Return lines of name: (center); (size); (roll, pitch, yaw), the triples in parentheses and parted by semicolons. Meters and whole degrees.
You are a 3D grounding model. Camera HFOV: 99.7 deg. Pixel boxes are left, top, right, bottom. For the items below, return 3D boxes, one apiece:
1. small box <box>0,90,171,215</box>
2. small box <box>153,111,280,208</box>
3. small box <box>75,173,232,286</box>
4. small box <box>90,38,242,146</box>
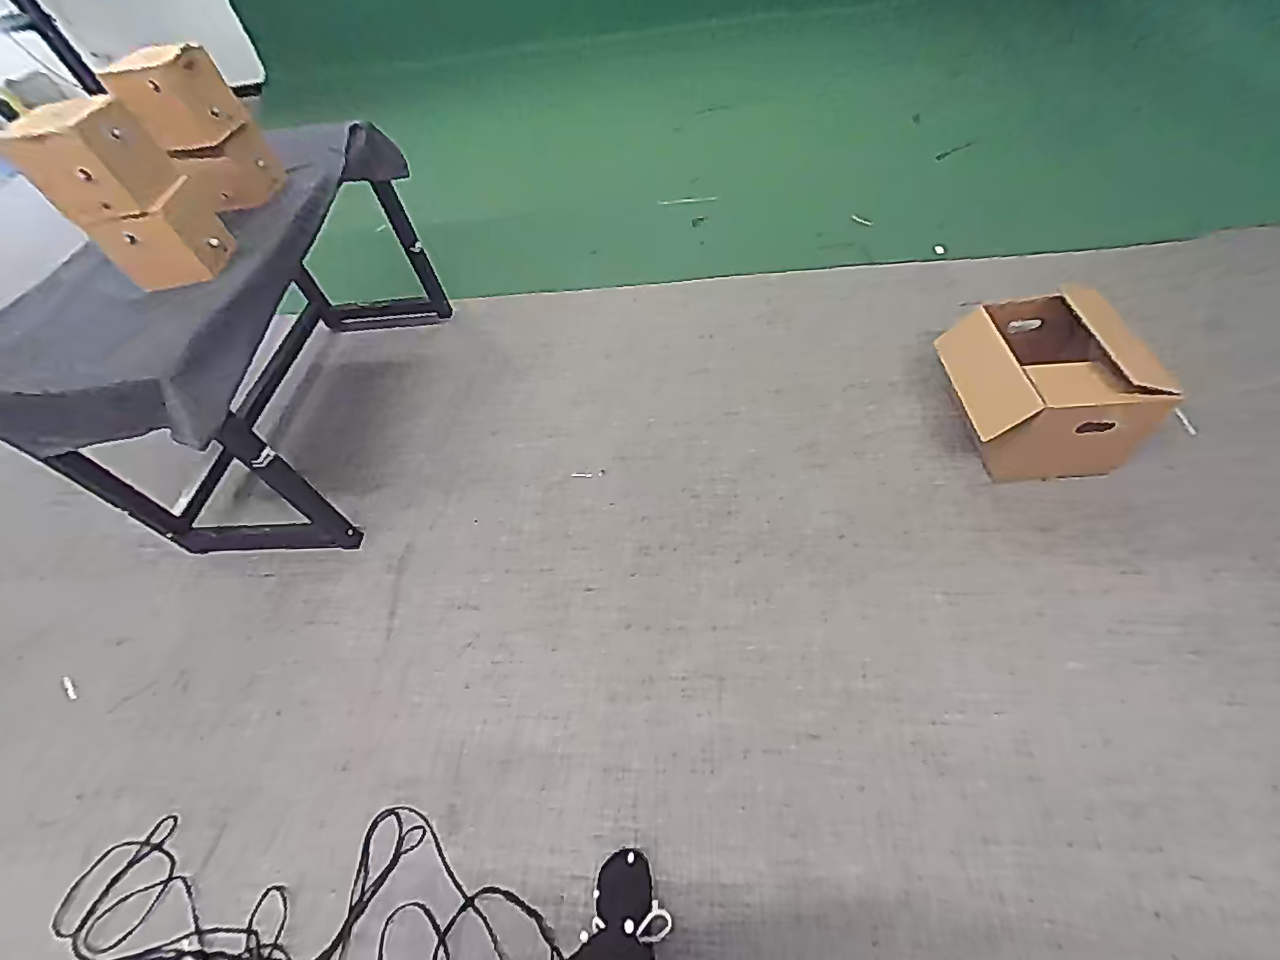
small box: (-1.135, -0.666, 1.115); (0.168, 0.176, 0.179); (-6, 53, 2)
small box: (-1.124, -0.857, 1.455); (0.179, 0.176, 0.168); (-1, 54, 7)
small box: (-1.100, -0.569, 1.241); (0.179, 0.176, 0.168); (-10, 54, 0)
small box: (-1.132, -0.932, 1.308); (0.179, 0.176, 0.168); (1, 54, 9)
